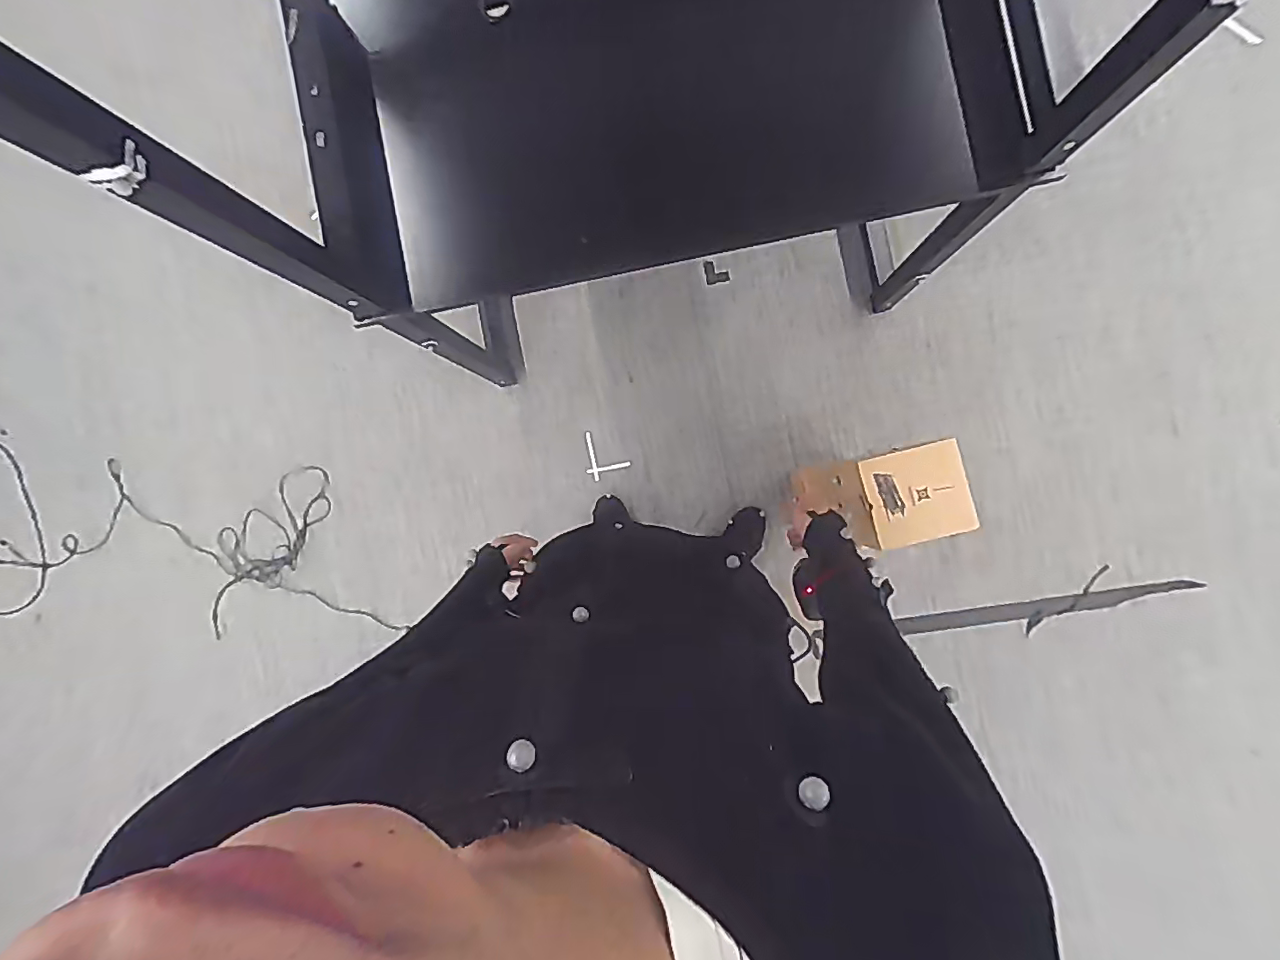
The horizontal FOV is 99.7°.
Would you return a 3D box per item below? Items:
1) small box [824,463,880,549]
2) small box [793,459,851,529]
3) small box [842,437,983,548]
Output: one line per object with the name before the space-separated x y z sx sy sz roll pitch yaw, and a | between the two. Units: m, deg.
small box | 0.517 0.040 1.180 0.168 0.176 0.179 -14 89 5
small box | 0.543 0.035 1.506 0.179 0.176 0.168 -12 89 6
small box | 0.495 0.024 1.017 0.179 0.176 0.168 -14 89 5
